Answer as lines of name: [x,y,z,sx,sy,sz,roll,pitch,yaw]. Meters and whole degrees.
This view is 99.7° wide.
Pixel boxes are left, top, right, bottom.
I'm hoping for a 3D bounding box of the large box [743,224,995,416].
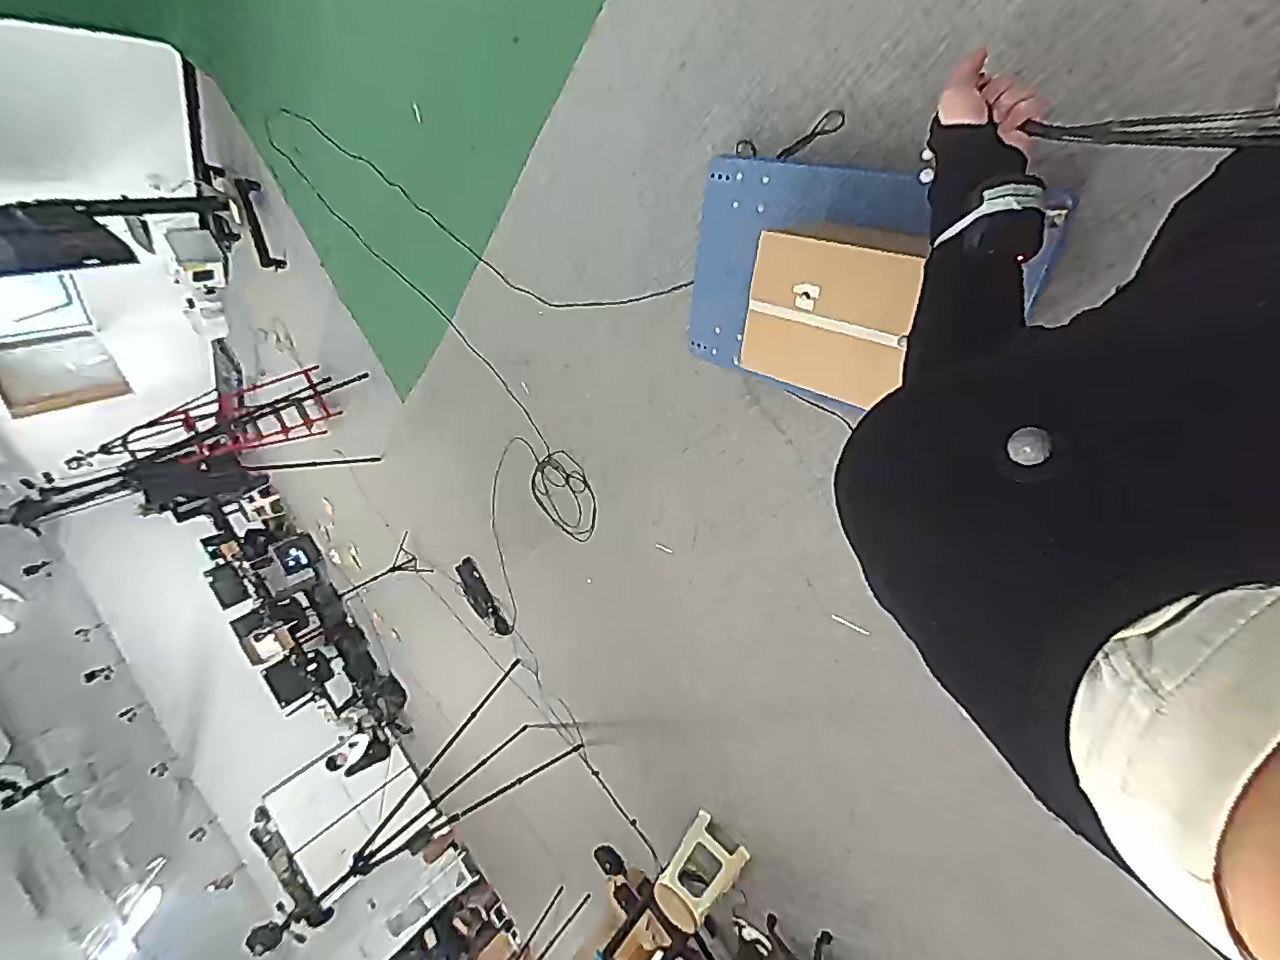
large box: [0.505,-0.386,1.234,0.408,0.320,0.320,28,129,33]
